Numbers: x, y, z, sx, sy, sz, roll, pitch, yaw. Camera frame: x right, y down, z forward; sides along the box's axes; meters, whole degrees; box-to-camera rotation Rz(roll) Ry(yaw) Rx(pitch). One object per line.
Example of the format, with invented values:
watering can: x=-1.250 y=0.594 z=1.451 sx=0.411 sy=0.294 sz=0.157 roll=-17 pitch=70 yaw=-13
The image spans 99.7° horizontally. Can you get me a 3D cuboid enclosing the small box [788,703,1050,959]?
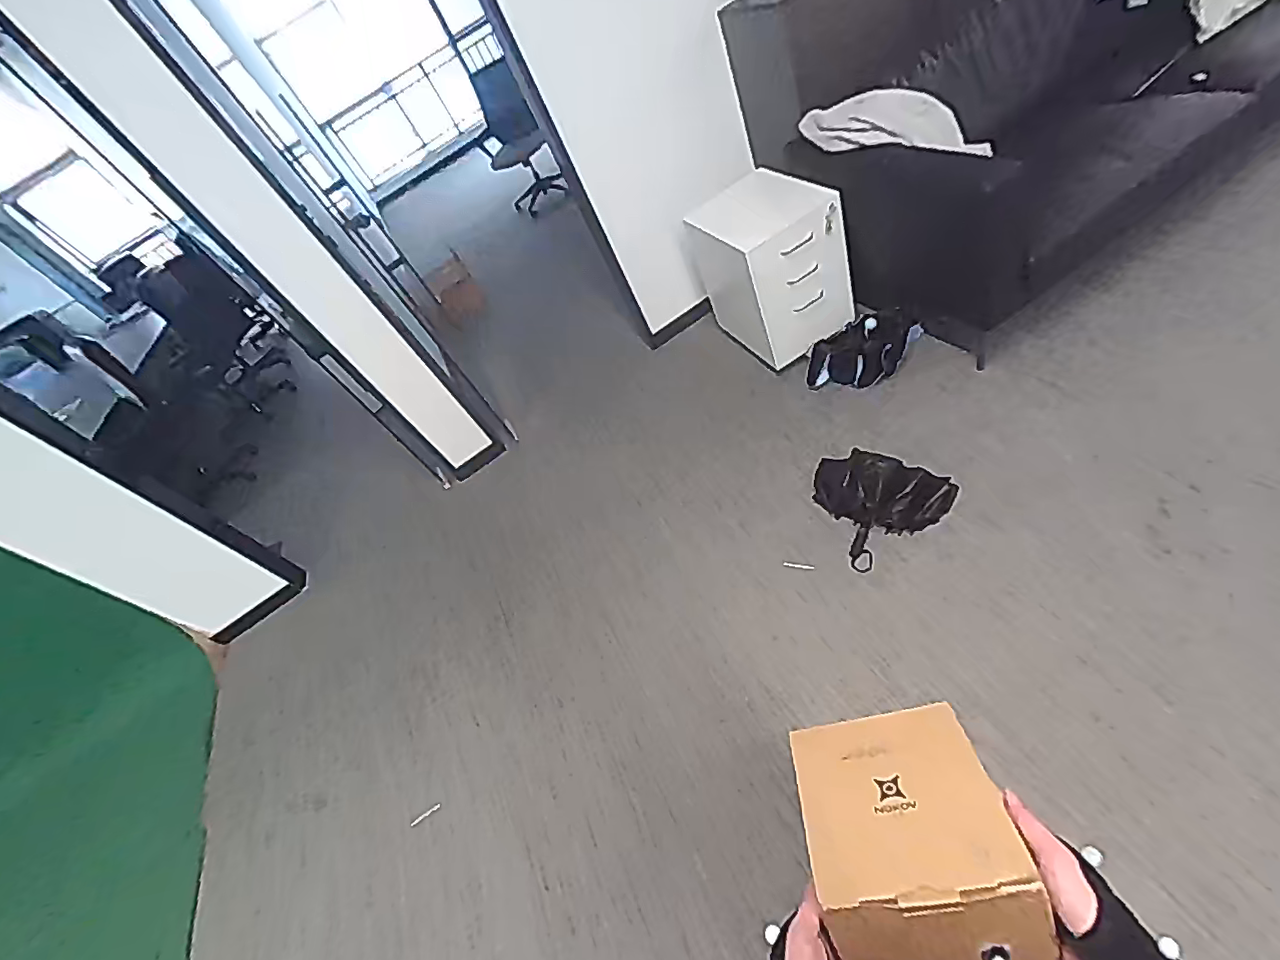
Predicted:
small box: x=0.253 y=0.352 z=0.512 sx=0.168 sy=0.176 sz=0.179 roll=-17 pitch=18 yaw=13
